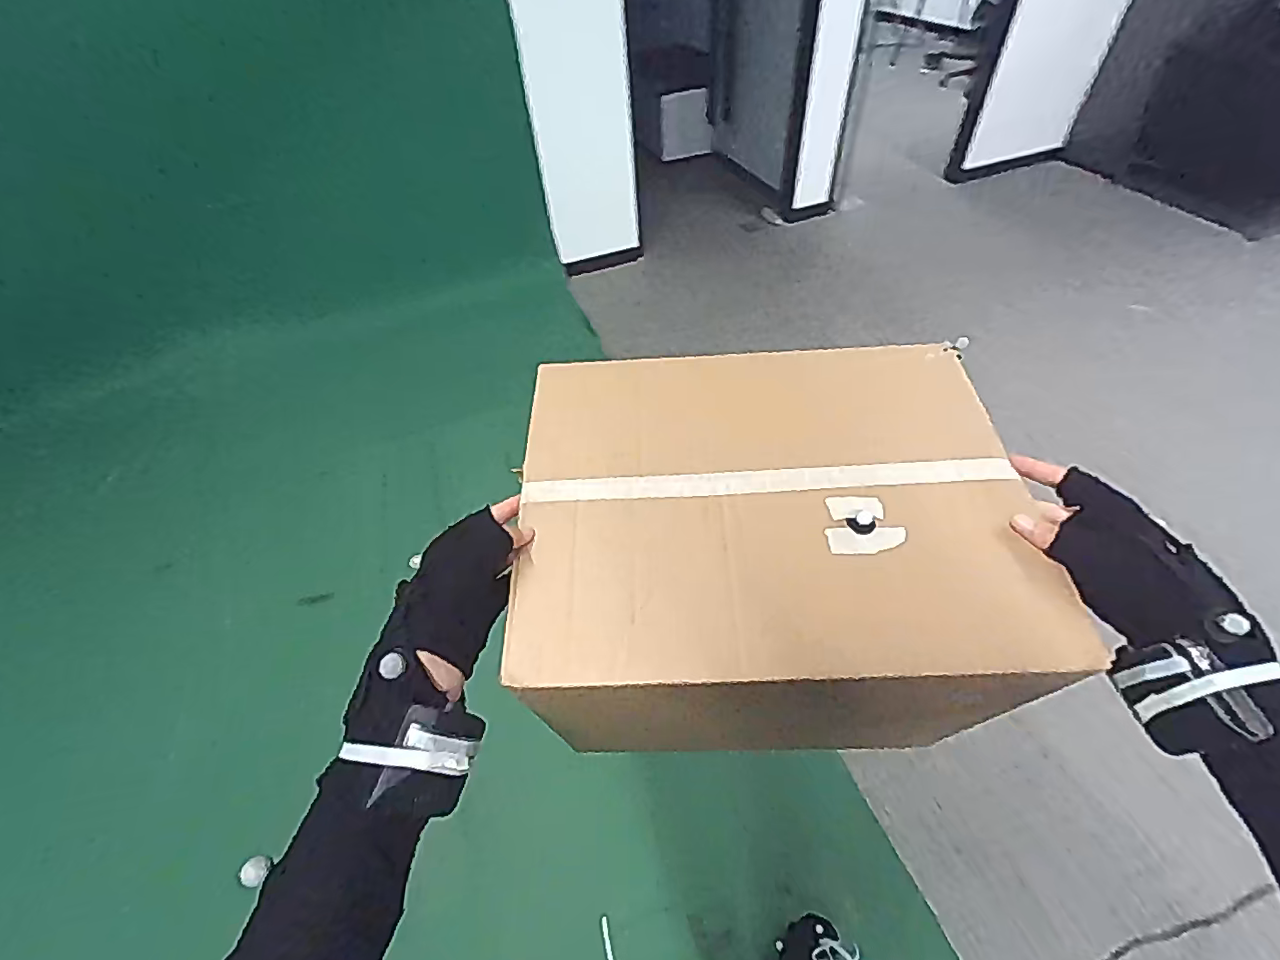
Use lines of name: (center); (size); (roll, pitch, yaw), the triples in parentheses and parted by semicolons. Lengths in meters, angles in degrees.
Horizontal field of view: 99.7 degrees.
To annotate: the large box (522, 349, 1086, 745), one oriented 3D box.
large box: (0.116, 0.089, 0.584); (0.408, 0.320, 0.320); (-2, 57, 3)
